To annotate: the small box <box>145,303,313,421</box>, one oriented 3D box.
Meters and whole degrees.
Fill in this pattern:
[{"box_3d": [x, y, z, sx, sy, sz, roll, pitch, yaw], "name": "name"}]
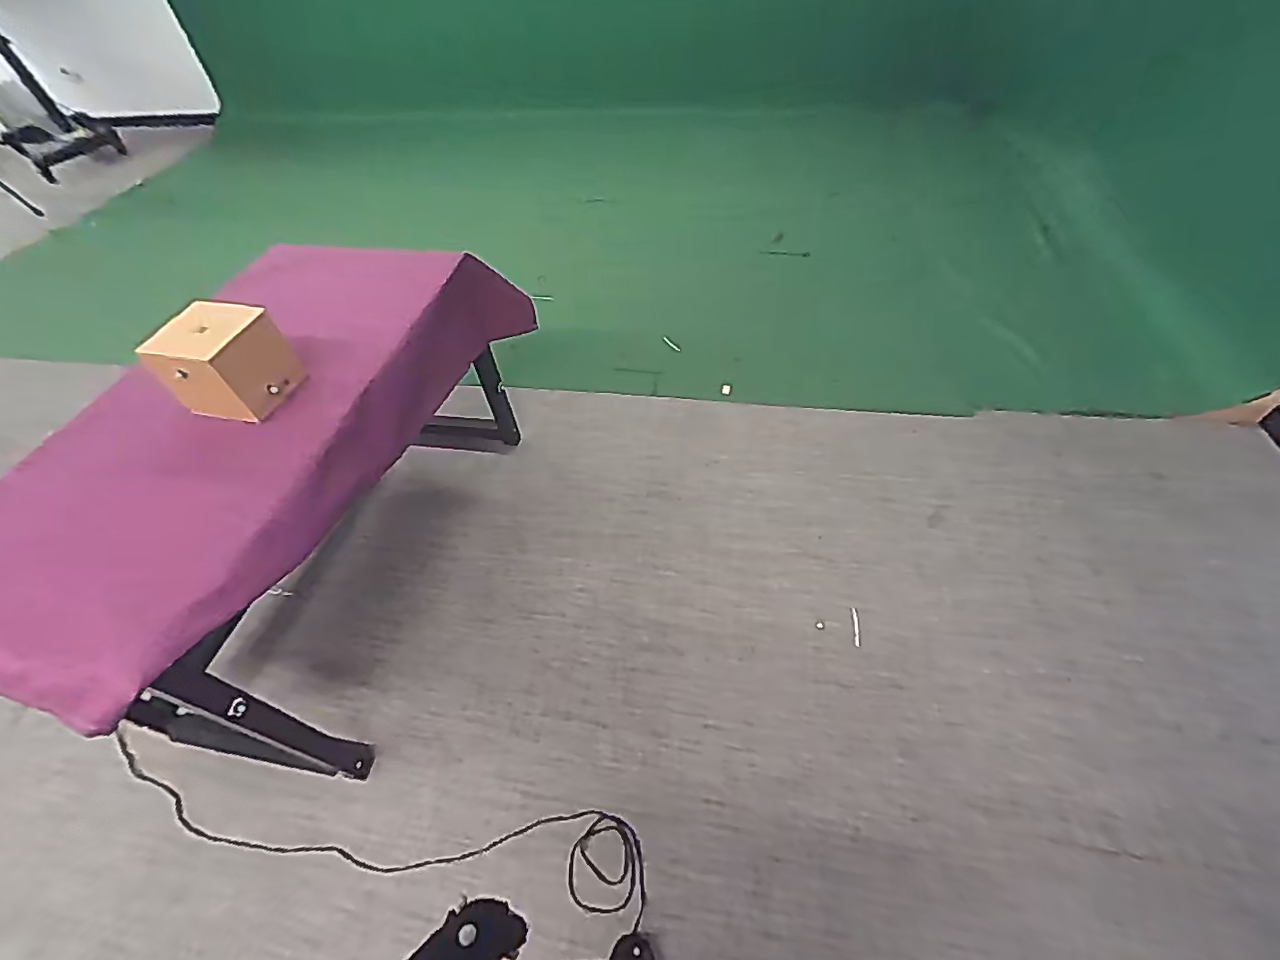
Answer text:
[{"box_3d": [-0.830, -0.240, 1.112, 0.179, 0.176, 0.168, 10, 53, 12], "name": "small box"}]
